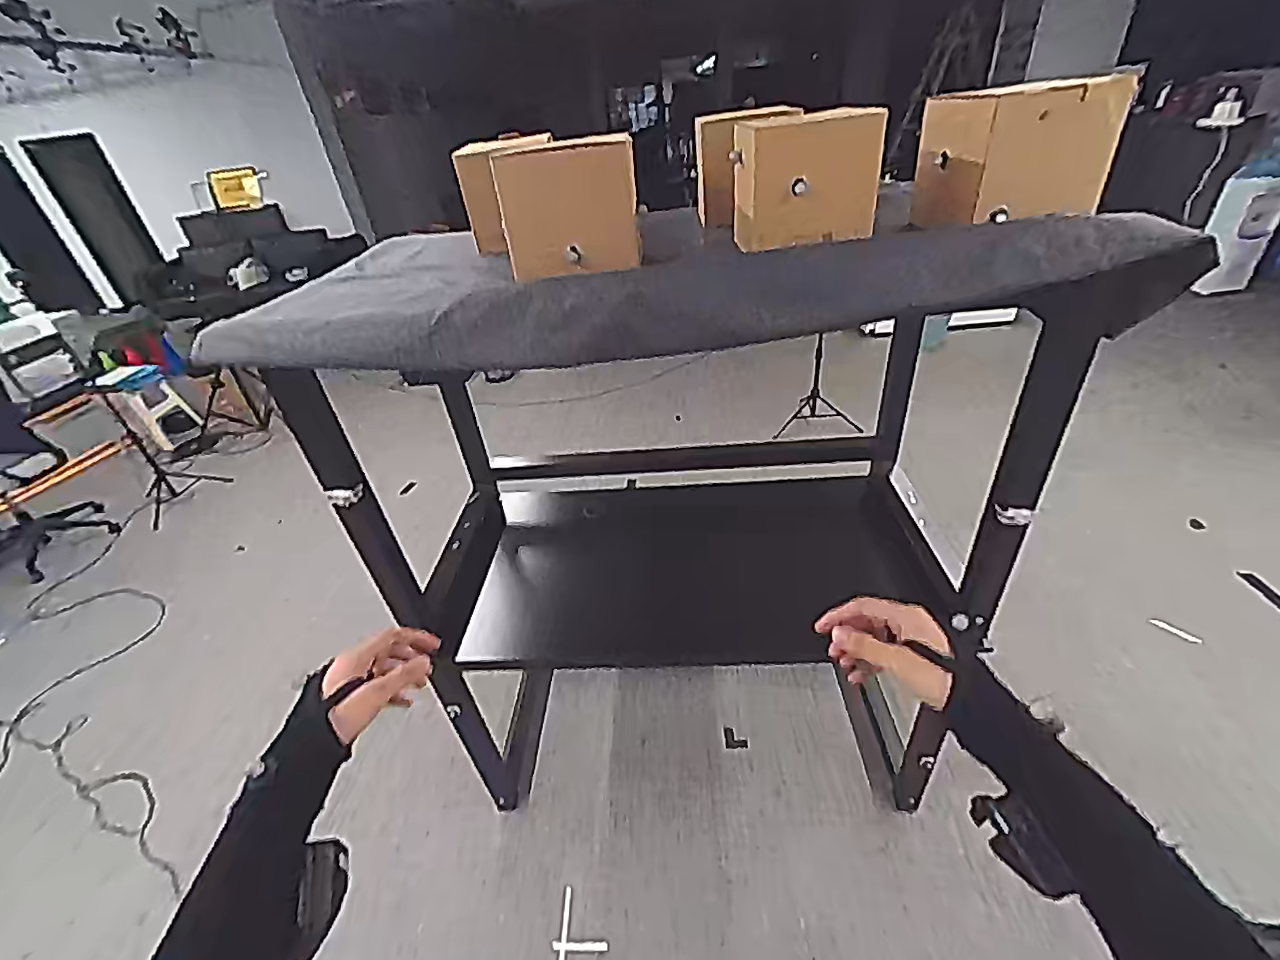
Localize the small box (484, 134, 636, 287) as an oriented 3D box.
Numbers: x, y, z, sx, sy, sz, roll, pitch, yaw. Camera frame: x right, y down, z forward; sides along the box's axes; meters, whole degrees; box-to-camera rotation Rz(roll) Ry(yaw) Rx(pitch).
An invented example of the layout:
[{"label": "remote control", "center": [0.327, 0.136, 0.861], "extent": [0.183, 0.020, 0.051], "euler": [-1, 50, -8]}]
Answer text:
[{"label": "small box", "center": [-0.098, -0.385, 0.772], "extent": [0.179, 0.176, 0.168], "euler": [-4, 33, 4]}]

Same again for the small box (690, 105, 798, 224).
[{"label": "small box", "center": [0.189, -0.586, 1.008], "extent": [0.179, 0.176, 0.168], "euler": [-4, 35, 5]}]

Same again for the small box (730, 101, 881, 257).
[{"label": "small box", "center": [0.224, -0.425, 0.771], "extent": [0.168, 0.176, 0.179], "euler": [-5, 34, 3]}]

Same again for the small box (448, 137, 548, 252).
[{"label": "small box", "center": [-0.242, -0.542, 1.027], "extent": [0.168, 0.176, 0.179], "euler": [-9, 35, 0]}]

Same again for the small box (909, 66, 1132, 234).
[{"label": "small box", "center": [0.496, -0.443, 0.740], "extent": [0.168, 0.176, 0.179], "euler": [-7, 33, 1]}]
